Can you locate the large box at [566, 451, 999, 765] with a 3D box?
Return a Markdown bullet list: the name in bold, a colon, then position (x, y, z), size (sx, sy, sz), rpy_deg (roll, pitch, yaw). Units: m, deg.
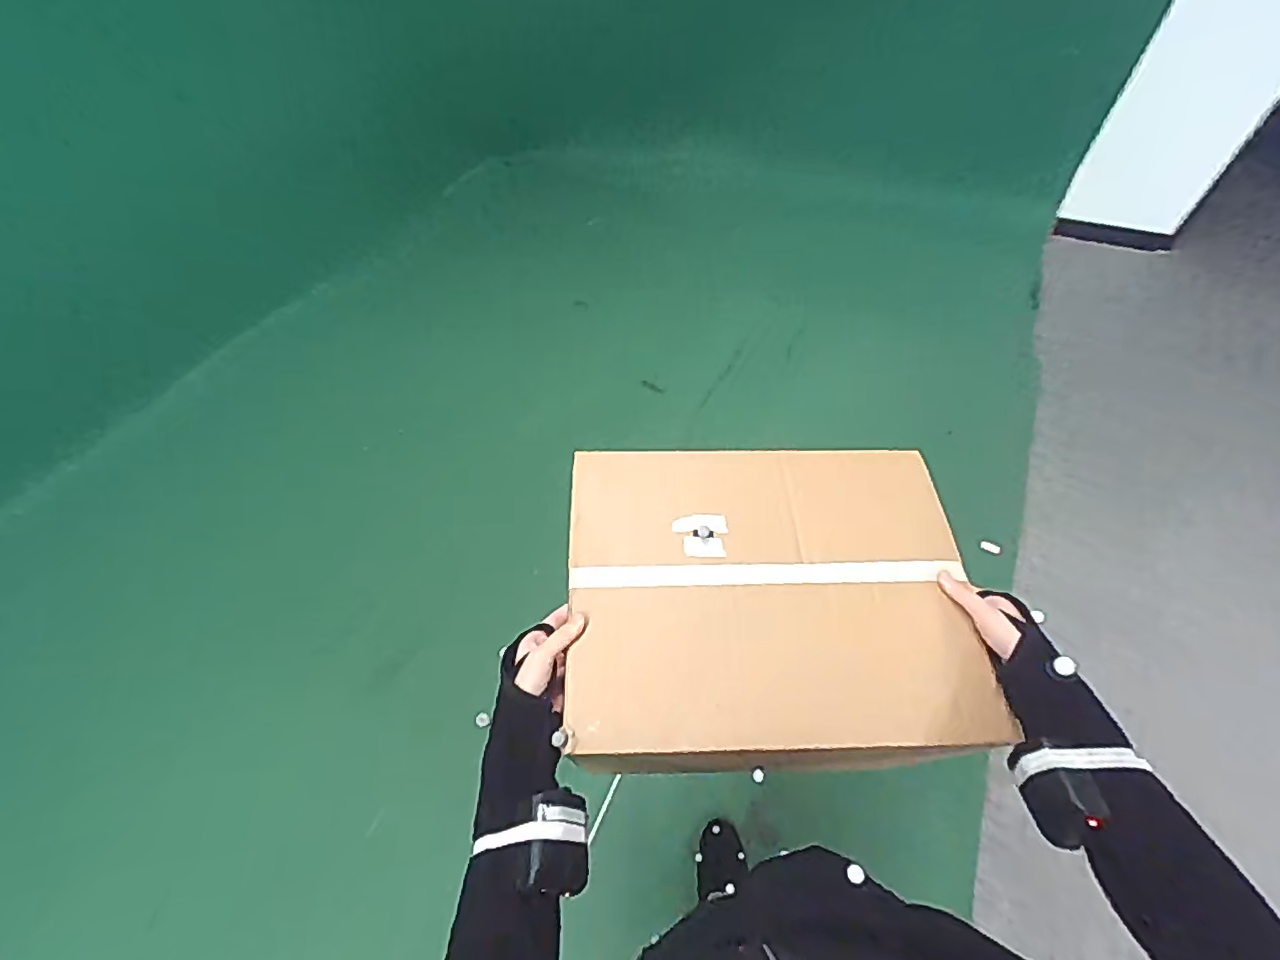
- **large box**: position (0.127, 0.178, 0.688), size (0.408, 0.320, 0.320), rpy_deg (-1, 58, -1)
